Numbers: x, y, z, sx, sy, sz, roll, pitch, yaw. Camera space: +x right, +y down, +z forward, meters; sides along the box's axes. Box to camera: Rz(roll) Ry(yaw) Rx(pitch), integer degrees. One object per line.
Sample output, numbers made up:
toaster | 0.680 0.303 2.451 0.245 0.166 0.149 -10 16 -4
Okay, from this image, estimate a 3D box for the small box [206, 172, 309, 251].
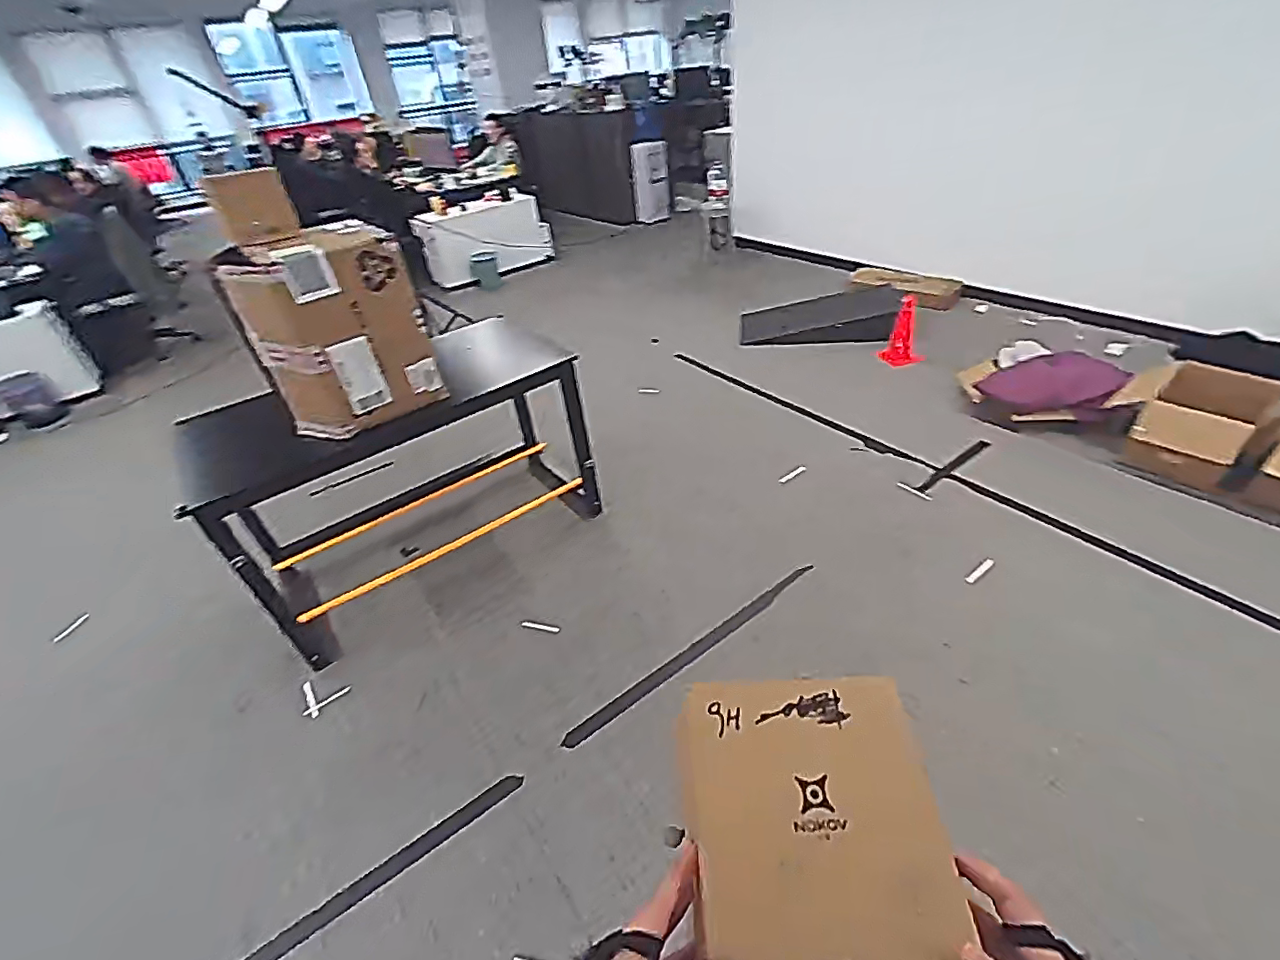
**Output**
small box | -1.046 -0.737 1.483 0.168 0.176 0.179 -32 42 -30
